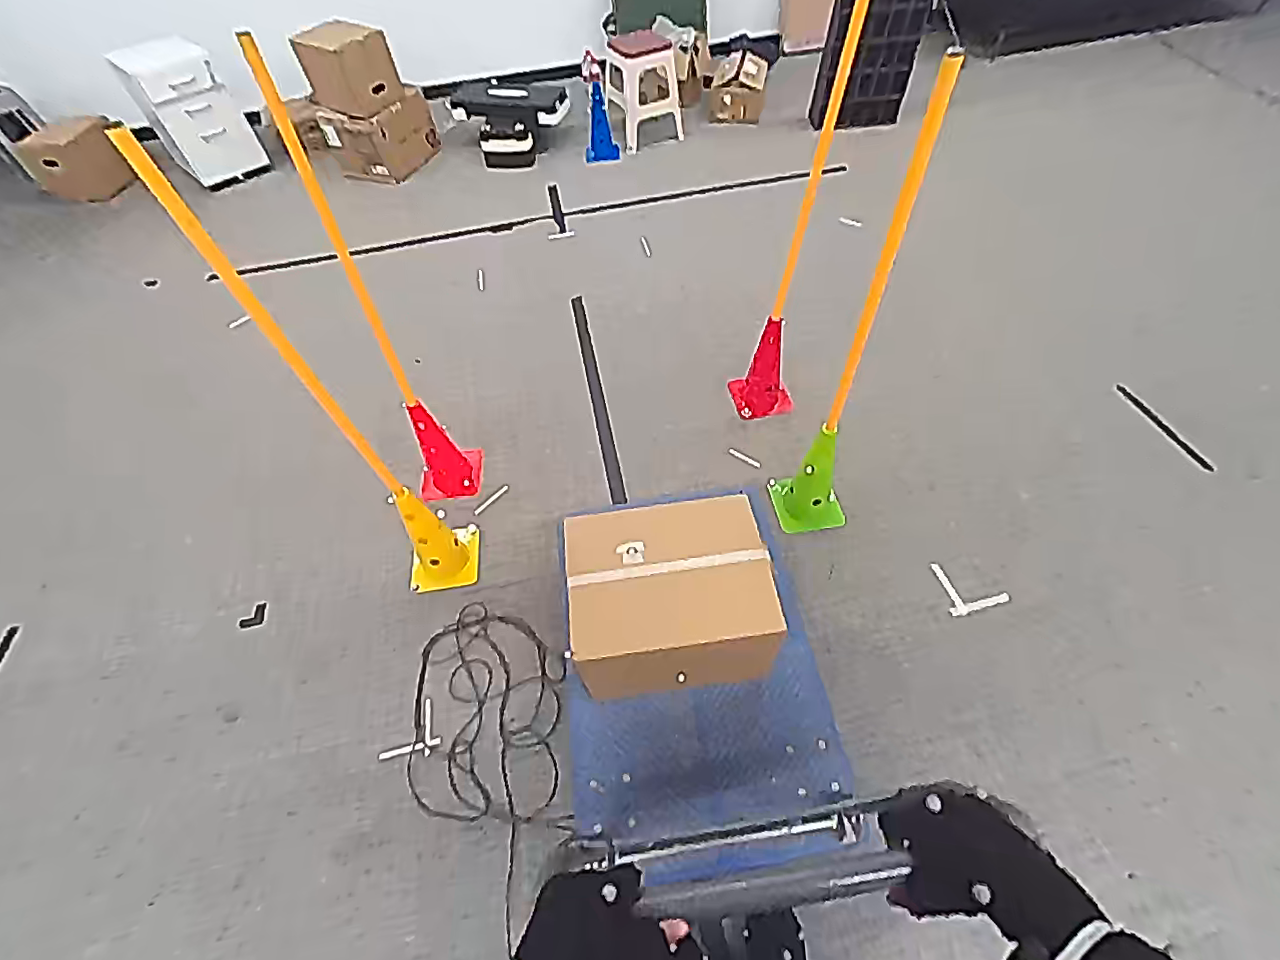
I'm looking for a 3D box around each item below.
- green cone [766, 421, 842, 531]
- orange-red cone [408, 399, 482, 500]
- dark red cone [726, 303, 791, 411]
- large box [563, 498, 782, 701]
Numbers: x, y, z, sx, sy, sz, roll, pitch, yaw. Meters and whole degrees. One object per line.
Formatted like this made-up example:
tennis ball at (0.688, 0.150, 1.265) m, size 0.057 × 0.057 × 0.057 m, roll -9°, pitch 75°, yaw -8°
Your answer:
green cone at (0.511, -0.032, 1.579) m, size 0.202 × 0.368 × 0.200 m, roll -8°, pitch 54°, yaw -3°
orange-red cone at (-0.656, -0.119, 1.723) m, size 0.198 × 0.360 × 0.199 m, roll -5°, pitch 52°, yaw -1°
dark red cone at (0.429, -0.427, 1.849) m, size 0.201 × 0.394 × 0.202 m, roll -11°, pitch 54°, yaw -6°
large box at (0.061, 0.274, 1.208) m, size 0.408 × 0.320 × 0.320 m, roll -8°, pitch 54°, yaw -1°
